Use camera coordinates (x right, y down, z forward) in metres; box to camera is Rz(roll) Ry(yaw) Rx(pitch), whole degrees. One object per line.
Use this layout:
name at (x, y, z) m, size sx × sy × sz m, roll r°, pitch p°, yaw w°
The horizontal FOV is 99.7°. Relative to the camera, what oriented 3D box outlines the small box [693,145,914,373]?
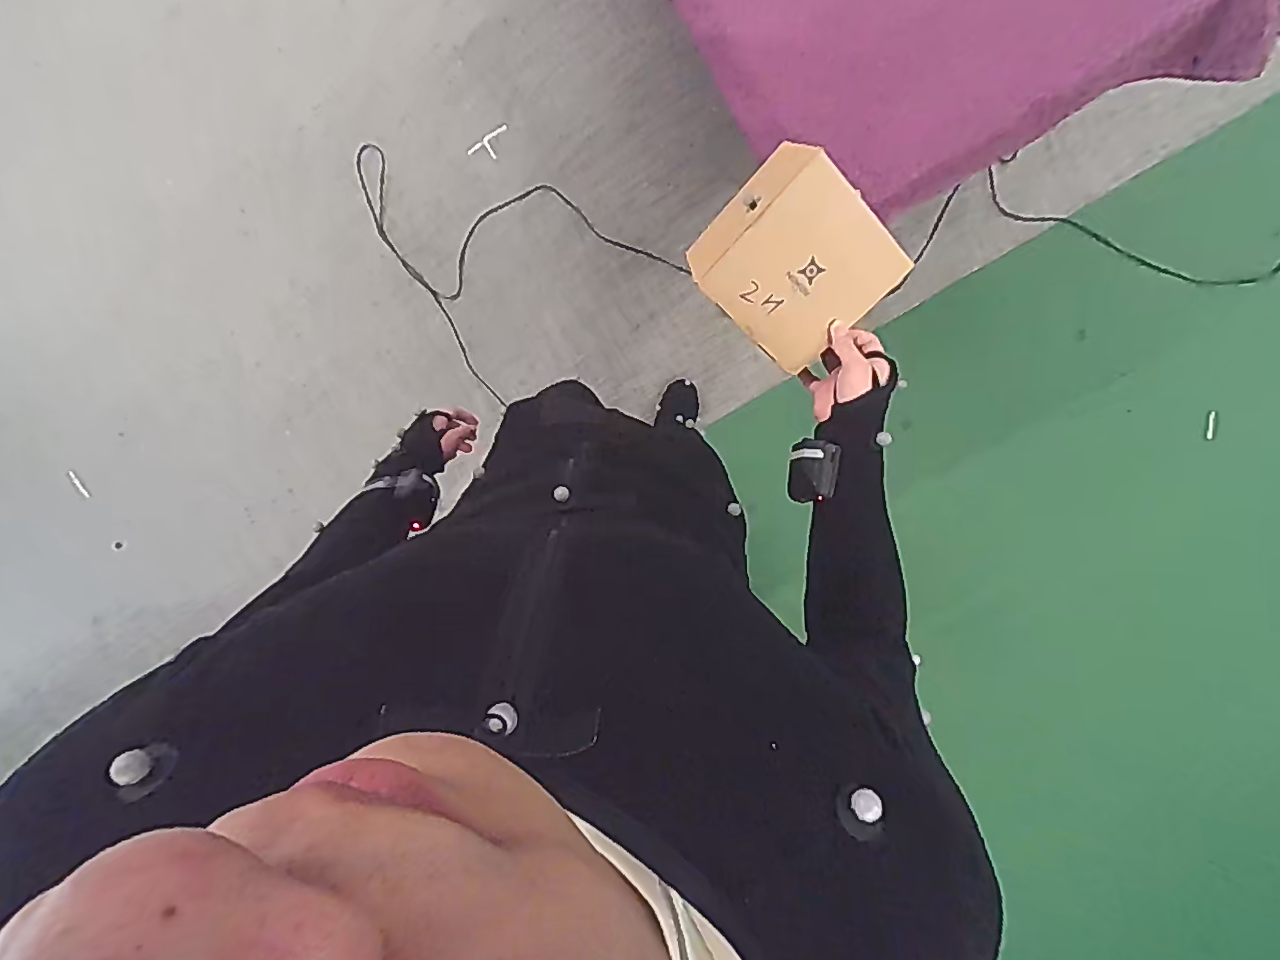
small box at (0.178, -0.269, 0.649) m, size 0.168 × 0.176 × 0.179 m, roll 37°, pitch 117°, yaw -21°
